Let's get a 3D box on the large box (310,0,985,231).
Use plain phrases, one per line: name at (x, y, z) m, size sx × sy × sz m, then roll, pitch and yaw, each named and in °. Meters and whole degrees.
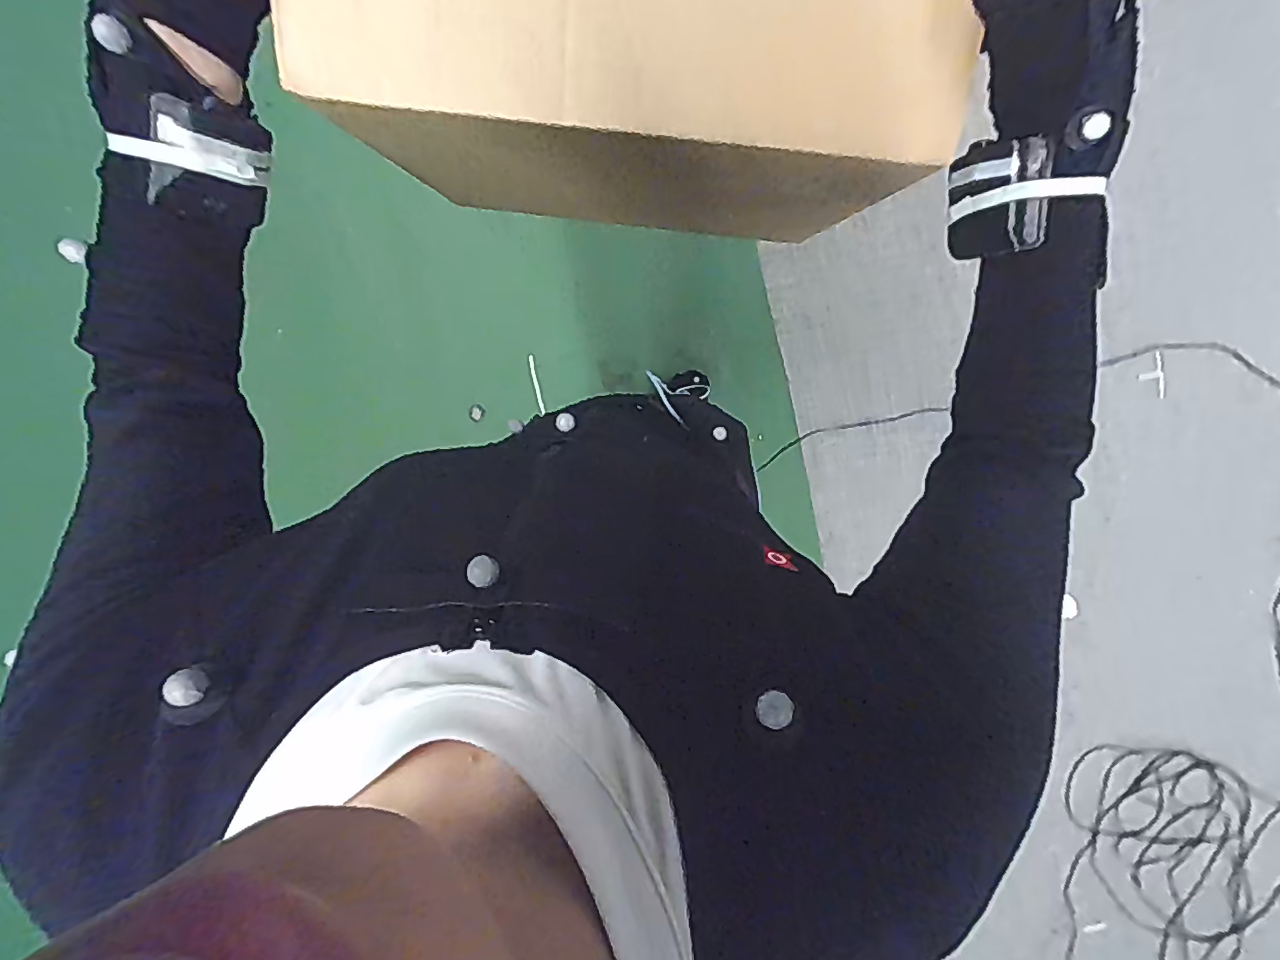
large box at (0.012, -0.409, 0.436) m, size 0.408 × 0.320 × 0.320 m, roll 6°, pitch 107°, yaw -2°
